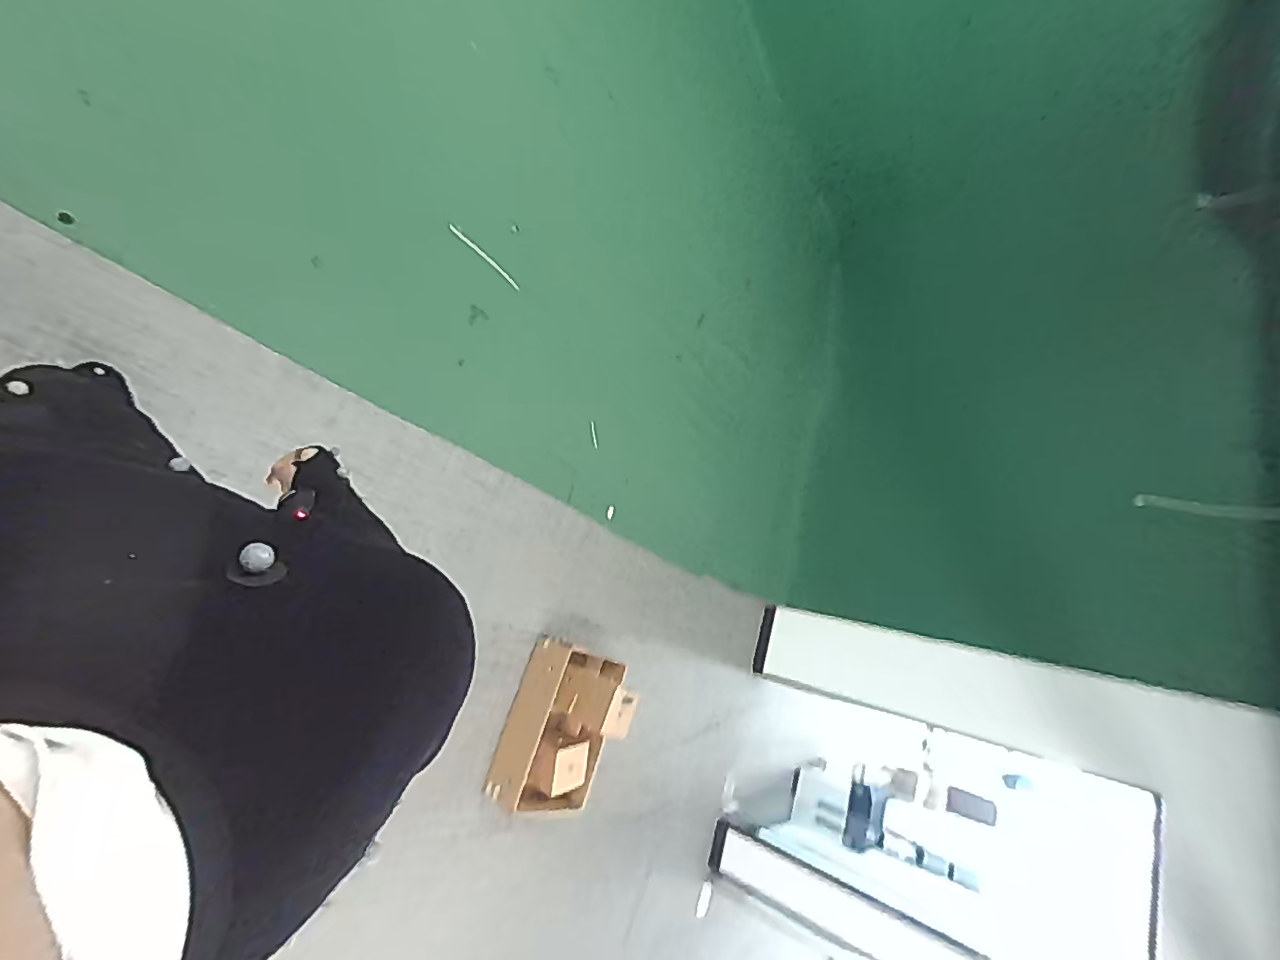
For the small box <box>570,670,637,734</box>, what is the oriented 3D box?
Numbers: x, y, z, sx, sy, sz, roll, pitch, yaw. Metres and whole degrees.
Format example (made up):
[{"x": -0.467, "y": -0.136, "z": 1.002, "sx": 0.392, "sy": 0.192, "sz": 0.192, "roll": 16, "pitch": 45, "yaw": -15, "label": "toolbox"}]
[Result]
[{"x": -0.144, "y": 0.859, "z": 2.100, "sx": 0.168, "sy": 0.176, "sz": 0.179, "roll": 42, "pitch": 63, "yaw": -45, "label": "small box"}]

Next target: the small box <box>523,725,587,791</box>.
[{"x": -0.338, "y": 1.093, "z": 2.142, "sx": 0.179, "sy": 0.176, "sz": 0.168, "roll": 14, "pitch": 83, "yaw": -51, "label": "small box"}]

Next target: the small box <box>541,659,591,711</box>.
[{"x": -0.270, "y": 0.848, "z": 2.203, "sx": 0.179, "sy": 0.176, "sz": 0.168, "roll": 51, "pitch": 56, "yaw": -42, "label": "small box"}]
